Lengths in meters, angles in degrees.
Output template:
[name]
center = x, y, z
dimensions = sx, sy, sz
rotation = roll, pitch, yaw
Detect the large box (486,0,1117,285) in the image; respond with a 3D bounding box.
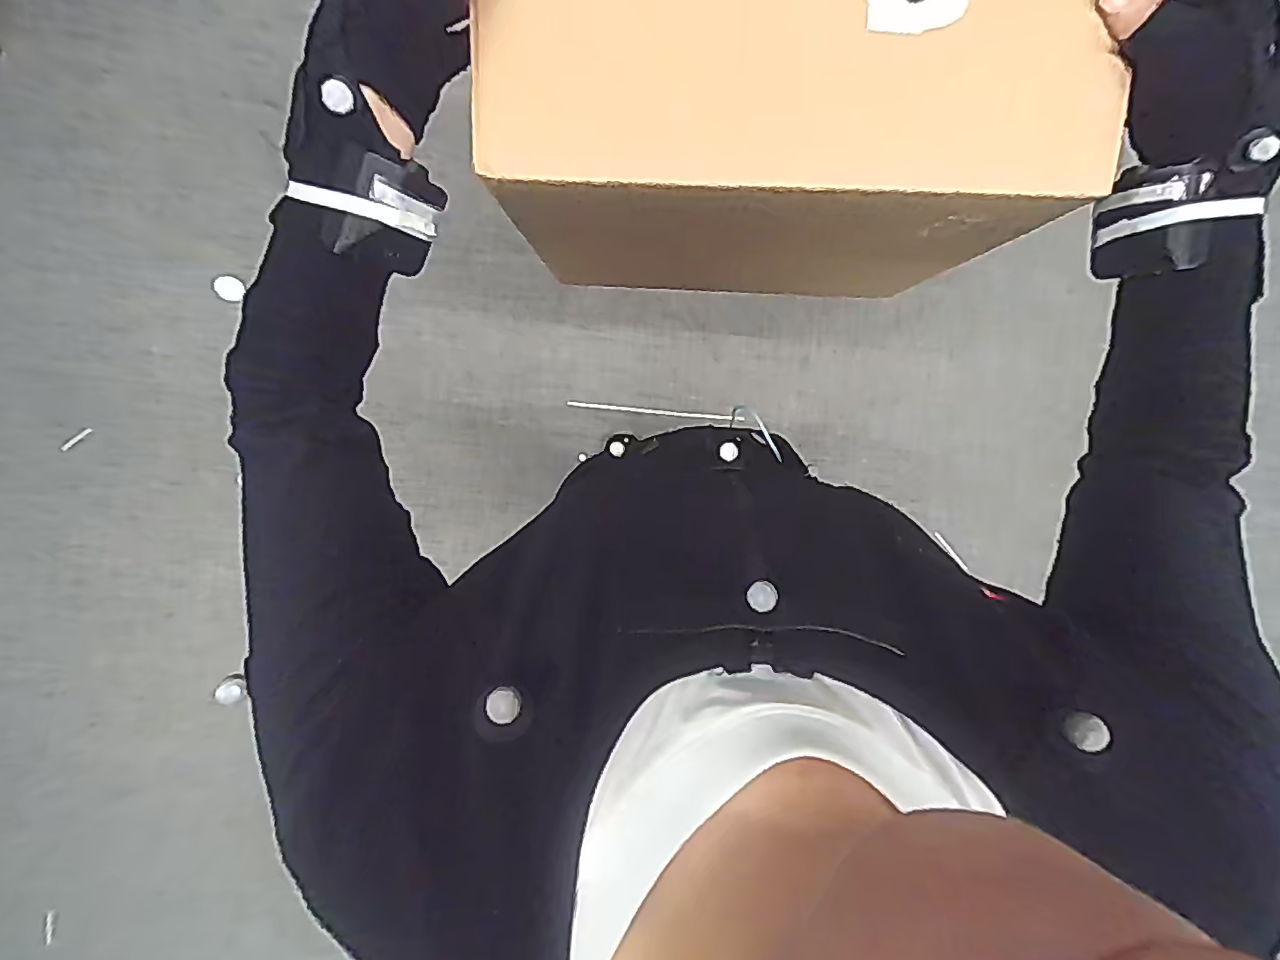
[large box]
center = 0.102, -0.368, 0.484
dimensions = 0.408, 0.320, 0.320
rotation = 2, 98, 1
